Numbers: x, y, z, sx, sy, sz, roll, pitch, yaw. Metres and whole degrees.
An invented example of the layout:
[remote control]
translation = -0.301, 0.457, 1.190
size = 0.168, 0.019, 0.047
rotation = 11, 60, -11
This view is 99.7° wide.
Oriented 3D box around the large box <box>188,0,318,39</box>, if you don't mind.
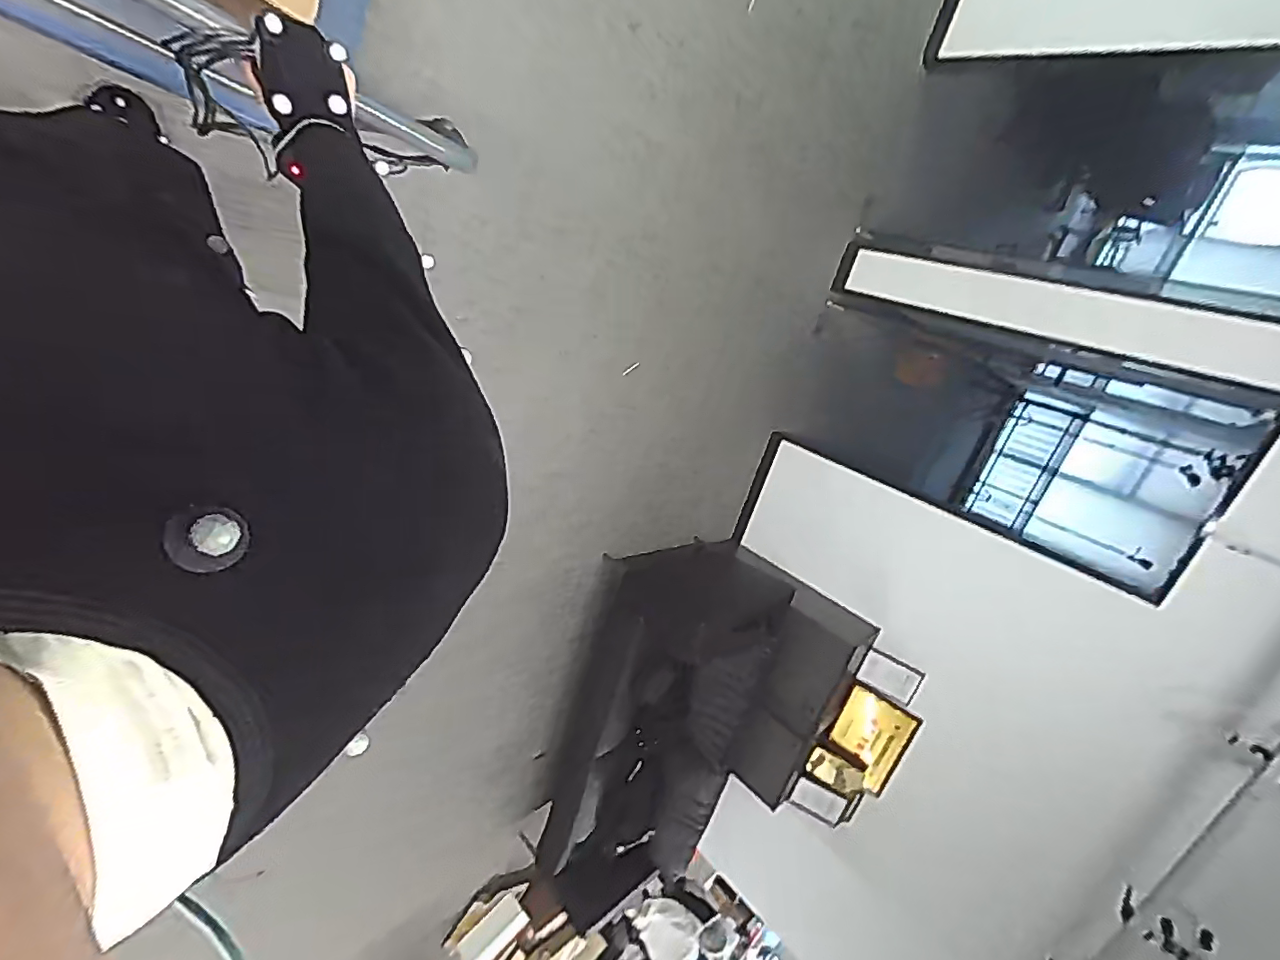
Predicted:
[large box]
translation = -0.640, -0.945, 0.762
size = 0.320, 0.320, 0.408
rotation = 5, 111, -52
